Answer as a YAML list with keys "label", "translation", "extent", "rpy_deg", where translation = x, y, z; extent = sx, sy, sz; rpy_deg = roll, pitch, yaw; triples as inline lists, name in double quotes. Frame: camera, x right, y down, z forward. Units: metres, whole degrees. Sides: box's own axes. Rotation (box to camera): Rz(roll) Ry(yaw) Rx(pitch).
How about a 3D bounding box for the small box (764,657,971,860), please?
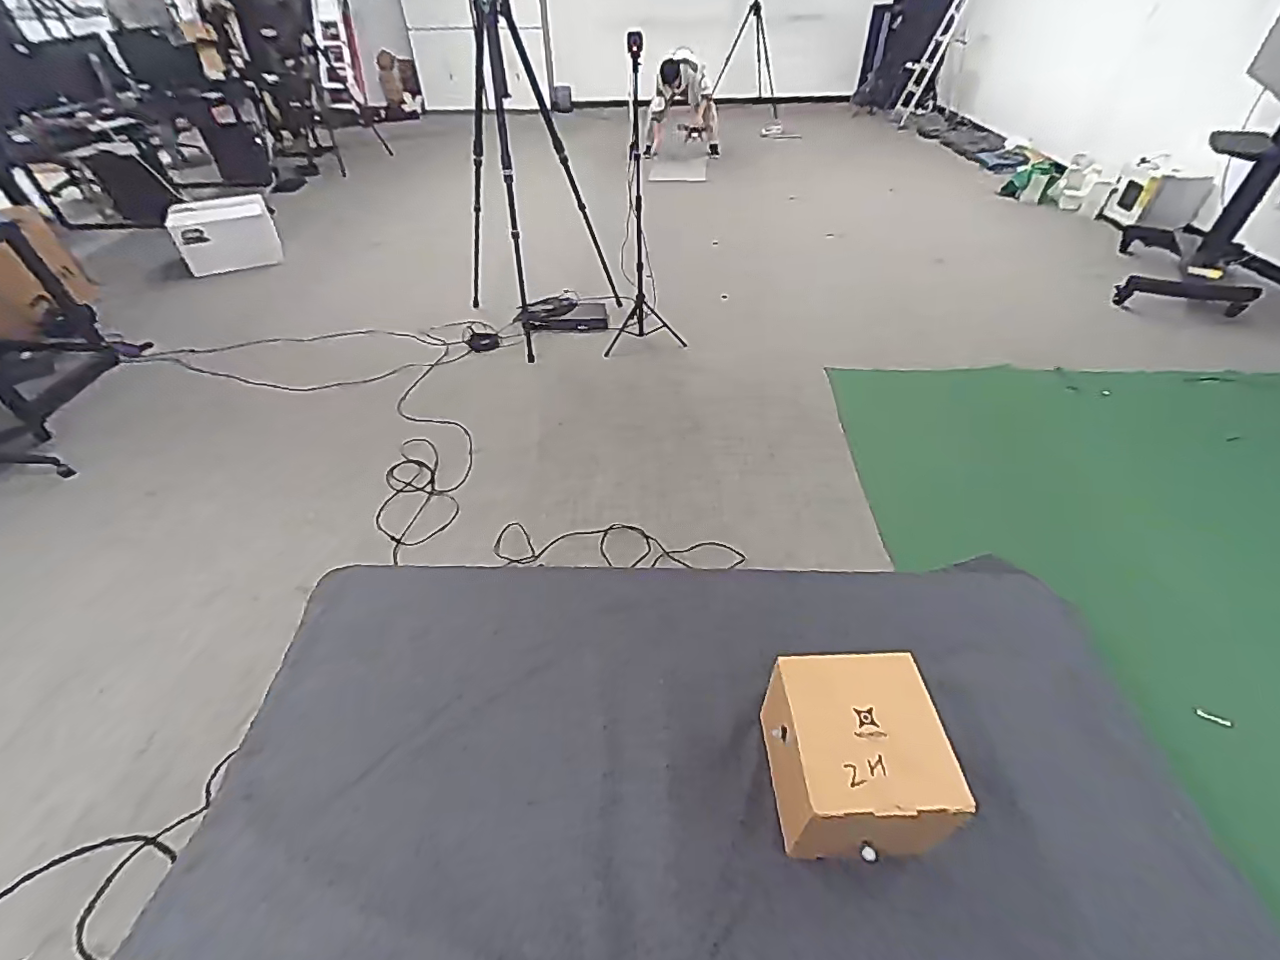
- label: "small box"
  translation: [0.255, 0.338, 0.661]
  extent: [0.168, 0.176, 0.179]
  rpy_deg: [-2, 43, 1]
